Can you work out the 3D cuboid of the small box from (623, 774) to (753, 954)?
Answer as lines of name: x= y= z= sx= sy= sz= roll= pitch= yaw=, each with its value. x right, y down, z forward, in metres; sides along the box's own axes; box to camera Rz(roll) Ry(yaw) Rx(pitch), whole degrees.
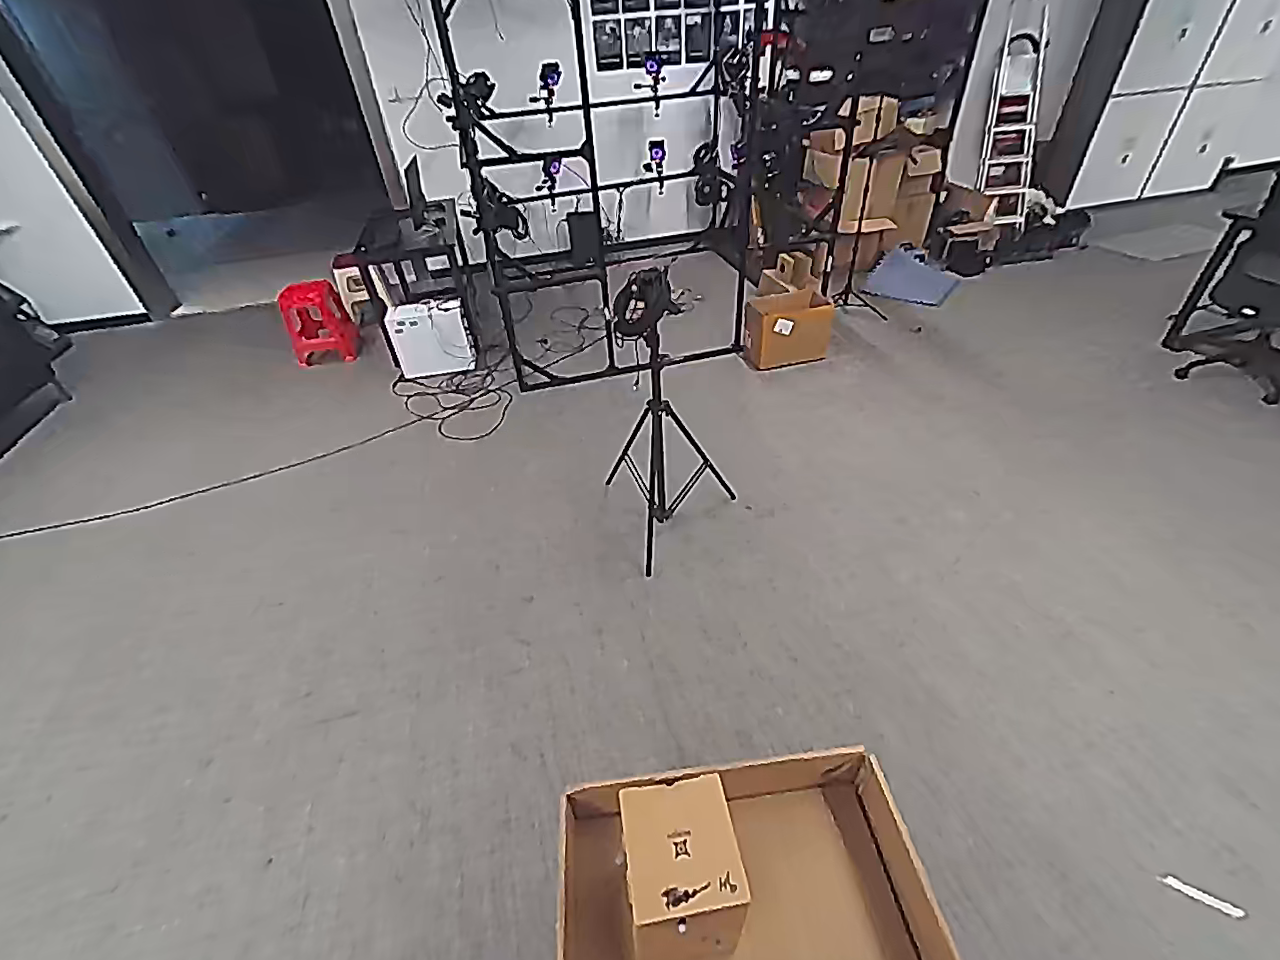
small box: x=0.065 y=0.596 z=0.844 sx=0.168 sy=0.176 sz=0.179 roll=-7 pitch=38 yaw=-5
